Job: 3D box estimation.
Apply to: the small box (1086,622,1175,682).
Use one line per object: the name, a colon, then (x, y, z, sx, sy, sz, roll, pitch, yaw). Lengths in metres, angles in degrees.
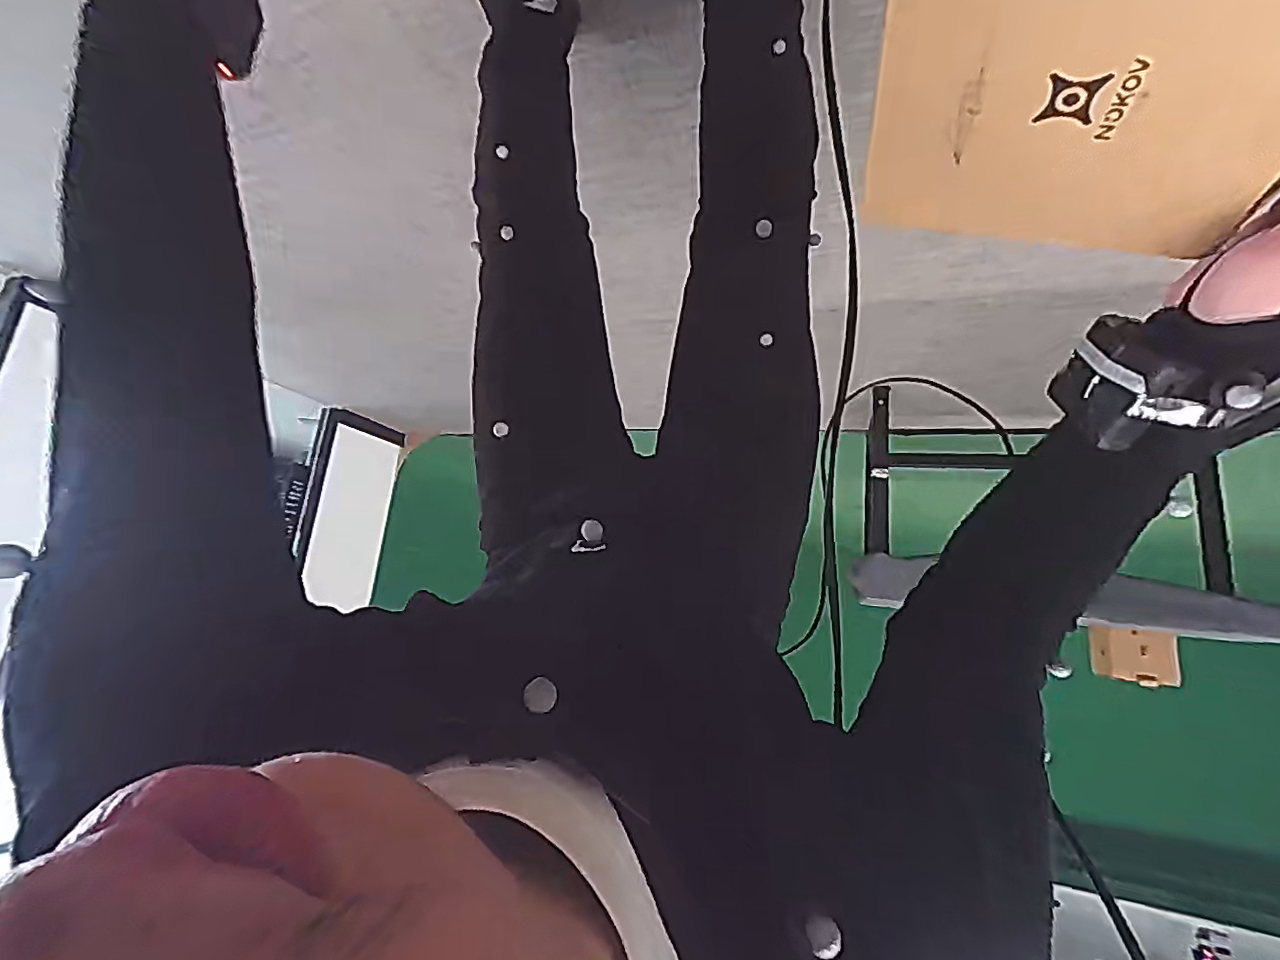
small box: (1.594, 0.558, 1.769, 0.168, 0.176, 0.179, -1, 166, 24)

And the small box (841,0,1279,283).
small box: (0.217, -0.229, 0.257, 0.179, 0.176, 0.168, 20, 165, 21)
